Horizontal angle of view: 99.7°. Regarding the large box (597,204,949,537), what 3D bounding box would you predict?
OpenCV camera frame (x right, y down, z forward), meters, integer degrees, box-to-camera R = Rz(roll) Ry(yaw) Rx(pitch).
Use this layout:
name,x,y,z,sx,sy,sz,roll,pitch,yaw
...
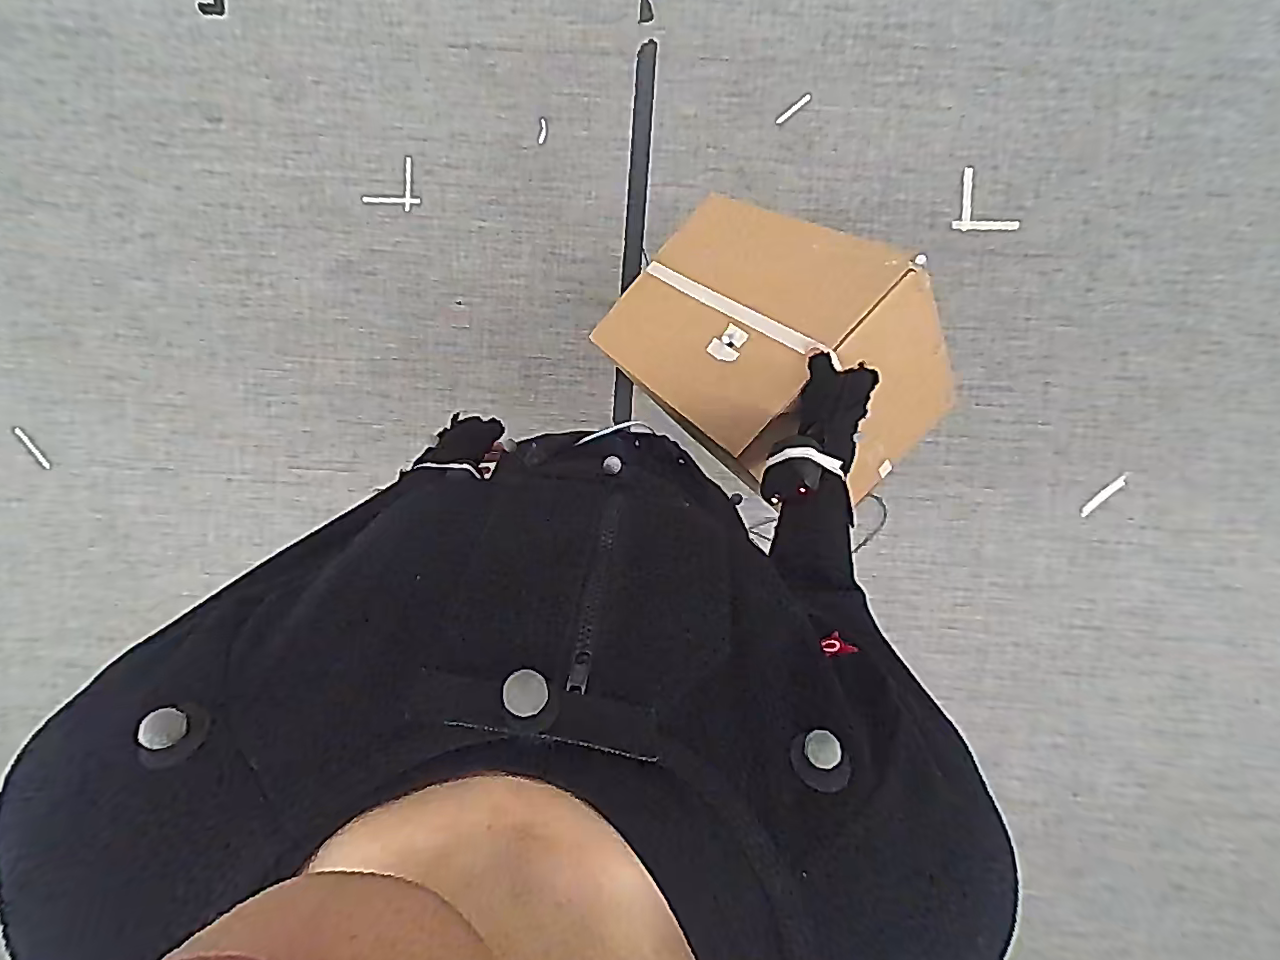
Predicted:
name,x,y,z,sx,sy,sz,roll,pitch,yaw
large box,0.207,-0.180,0.879,0.320,0.408,0.320,-48,137,6
